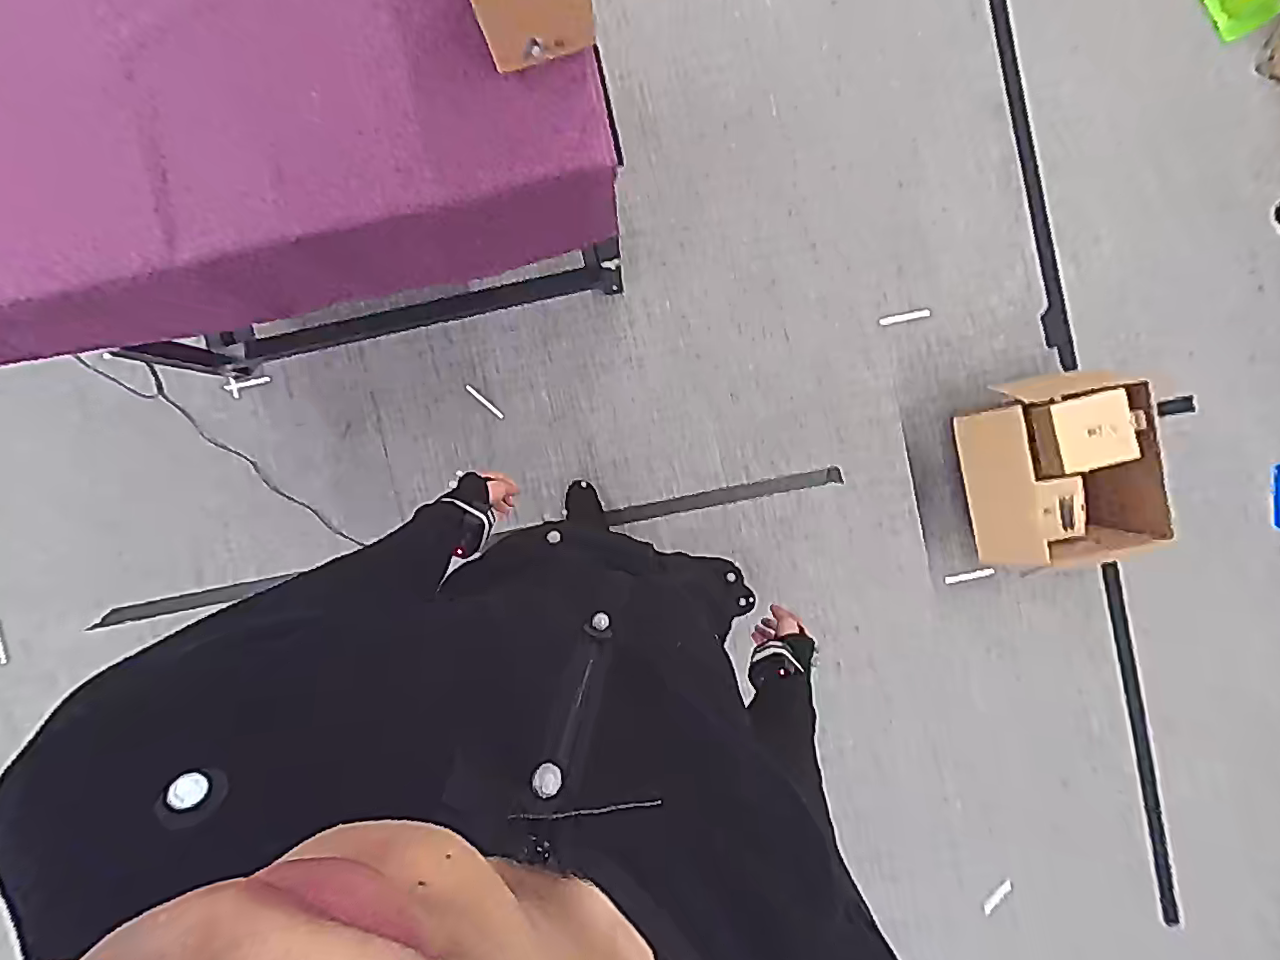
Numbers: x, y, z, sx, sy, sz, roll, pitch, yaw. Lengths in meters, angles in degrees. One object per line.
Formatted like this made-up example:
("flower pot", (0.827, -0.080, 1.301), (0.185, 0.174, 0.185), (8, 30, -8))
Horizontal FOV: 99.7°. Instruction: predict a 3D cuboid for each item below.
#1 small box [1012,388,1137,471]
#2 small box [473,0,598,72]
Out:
("small box", (1.064, -0.121, 1.343), (0.179, 0.176, 0.168), (-13, 93, 1))
("small box", (-0.166, -0.738, 0.764), (0.168, 0.176, 0.179), (-17, 92, 2))
